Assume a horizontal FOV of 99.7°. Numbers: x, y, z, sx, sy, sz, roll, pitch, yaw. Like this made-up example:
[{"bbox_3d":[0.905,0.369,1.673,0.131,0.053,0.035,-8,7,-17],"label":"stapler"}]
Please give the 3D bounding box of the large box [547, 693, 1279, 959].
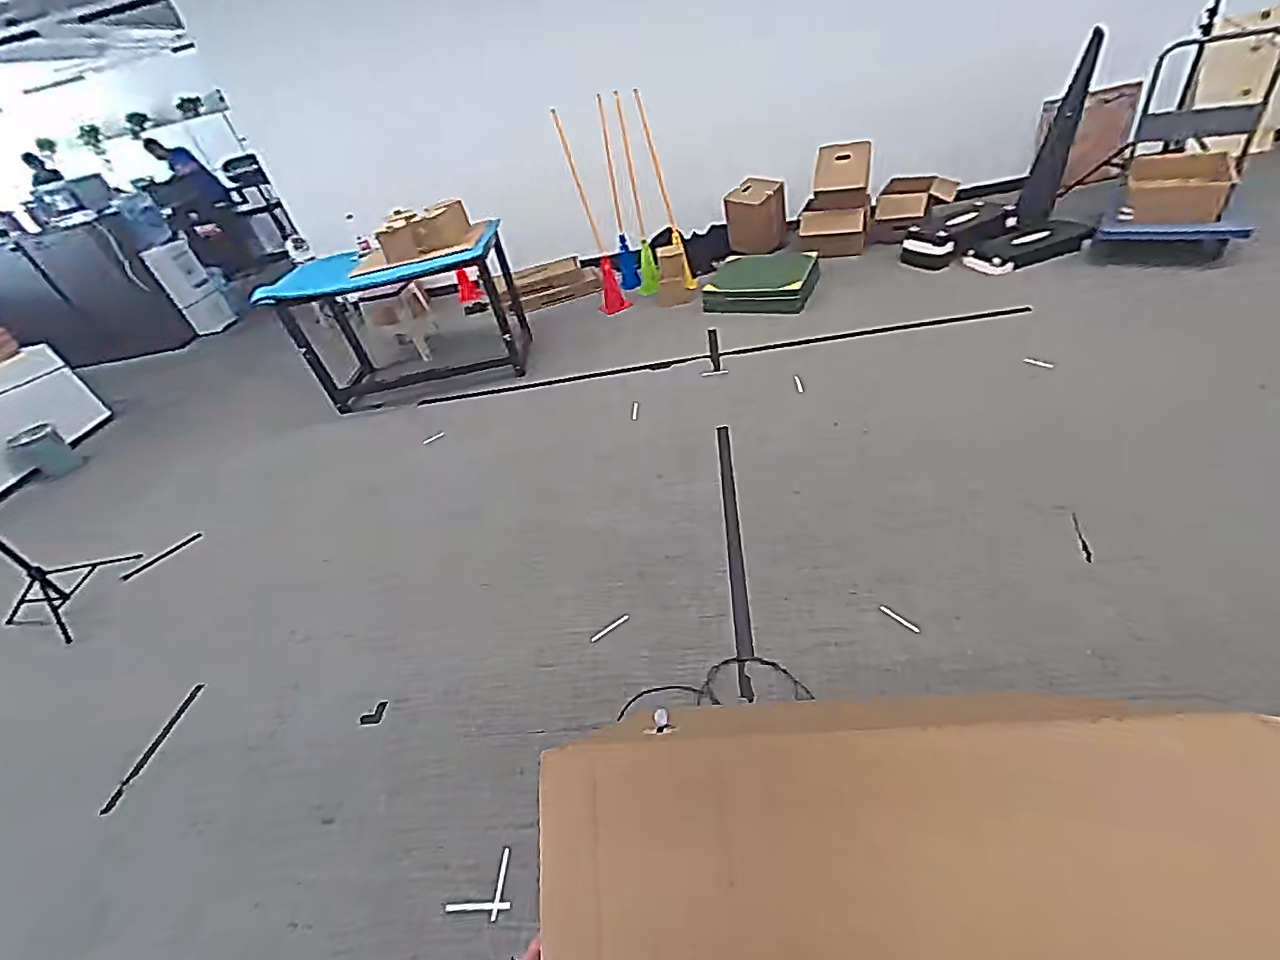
[{"bbox_3d":[0.174,0.346,0.410,0.408,0.320,0.320,-8,71,10],"label":"large box"}]
